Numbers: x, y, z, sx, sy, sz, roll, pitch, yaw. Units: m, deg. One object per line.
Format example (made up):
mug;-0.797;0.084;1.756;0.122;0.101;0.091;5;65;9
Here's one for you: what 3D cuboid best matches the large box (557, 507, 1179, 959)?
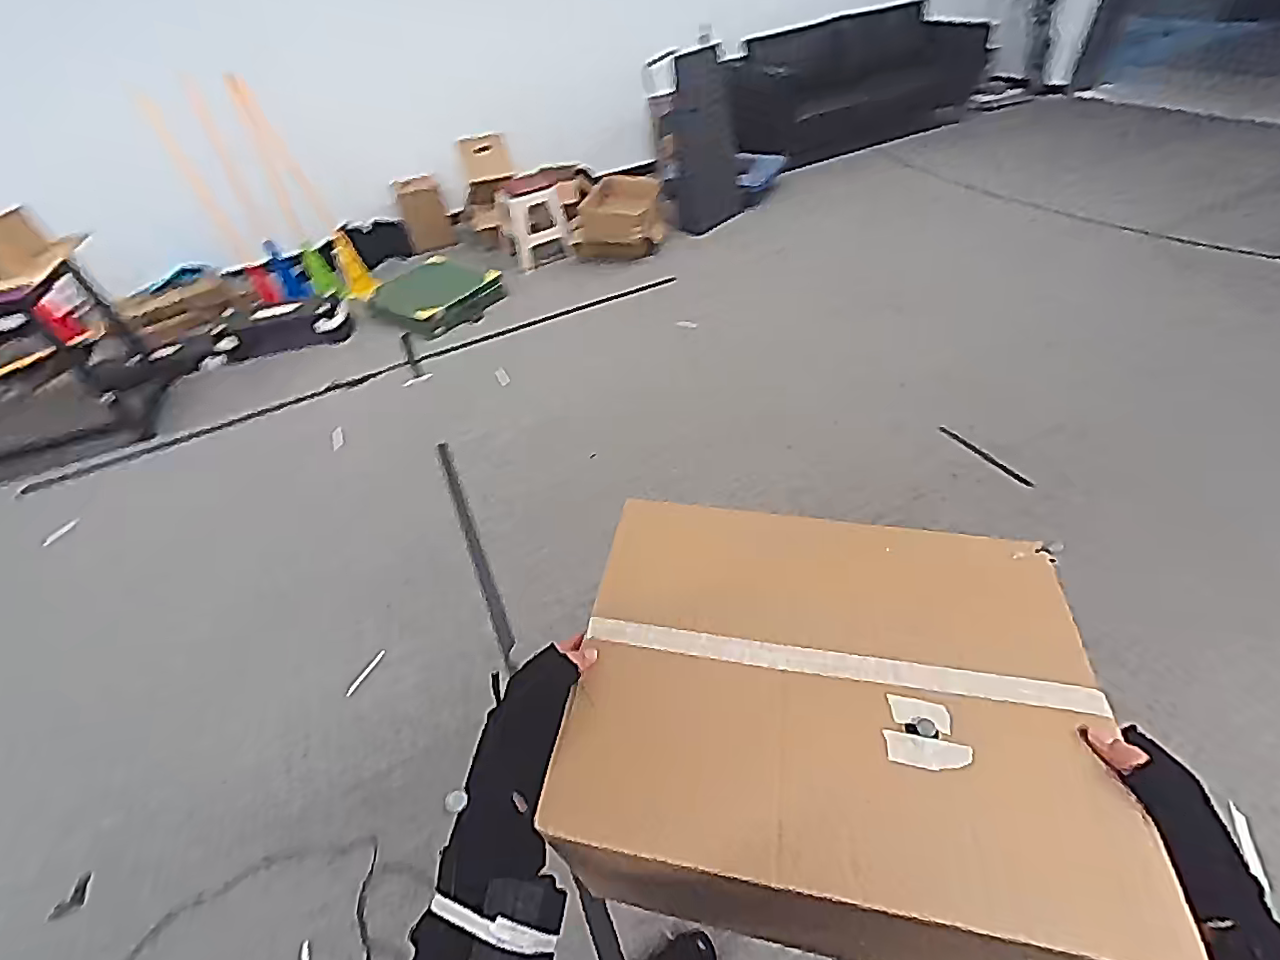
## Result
large box;0.167;0.259;0.563;0.408;0.320;0.320;6;48;11
